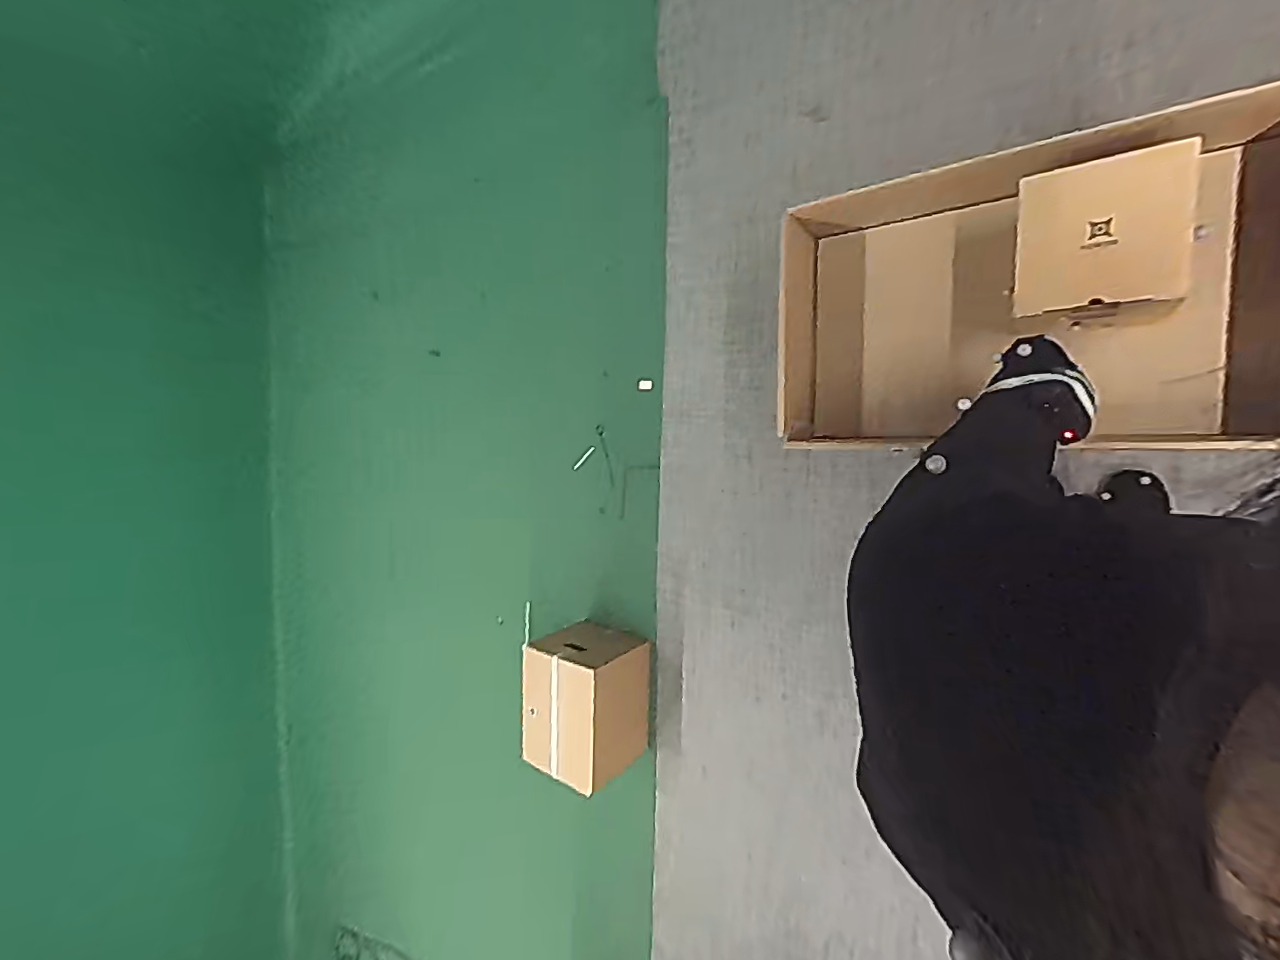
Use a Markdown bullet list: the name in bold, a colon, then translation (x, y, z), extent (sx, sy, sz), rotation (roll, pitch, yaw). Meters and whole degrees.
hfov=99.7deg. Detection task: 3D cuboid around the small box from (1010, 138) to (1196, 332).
- **small box**: translation (0.598, -0.304, 0.717), extent (0.168, 0.176, 0.179), rotation (3, 96, 37)
